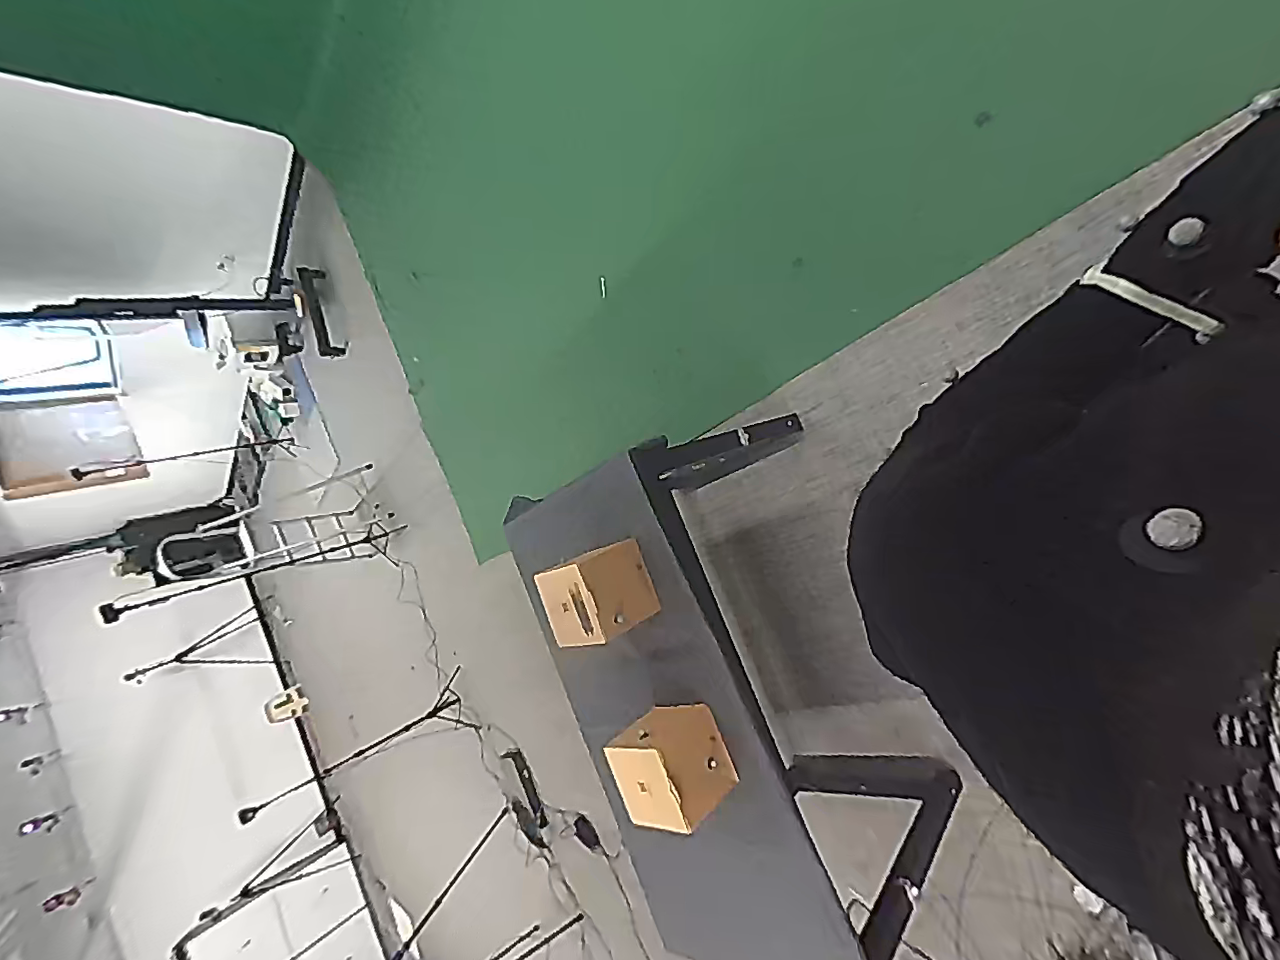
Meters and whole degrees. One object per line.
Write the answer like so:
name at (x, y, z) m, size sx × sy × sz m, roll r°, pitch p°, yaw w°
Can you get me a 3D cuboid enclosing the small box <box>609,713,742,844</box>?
small box at (0.073, 0.593, 1.097) m, size 0.179 × 0.176 × 0.168 m, roll -29°, pitch 82°, yaw 44°
